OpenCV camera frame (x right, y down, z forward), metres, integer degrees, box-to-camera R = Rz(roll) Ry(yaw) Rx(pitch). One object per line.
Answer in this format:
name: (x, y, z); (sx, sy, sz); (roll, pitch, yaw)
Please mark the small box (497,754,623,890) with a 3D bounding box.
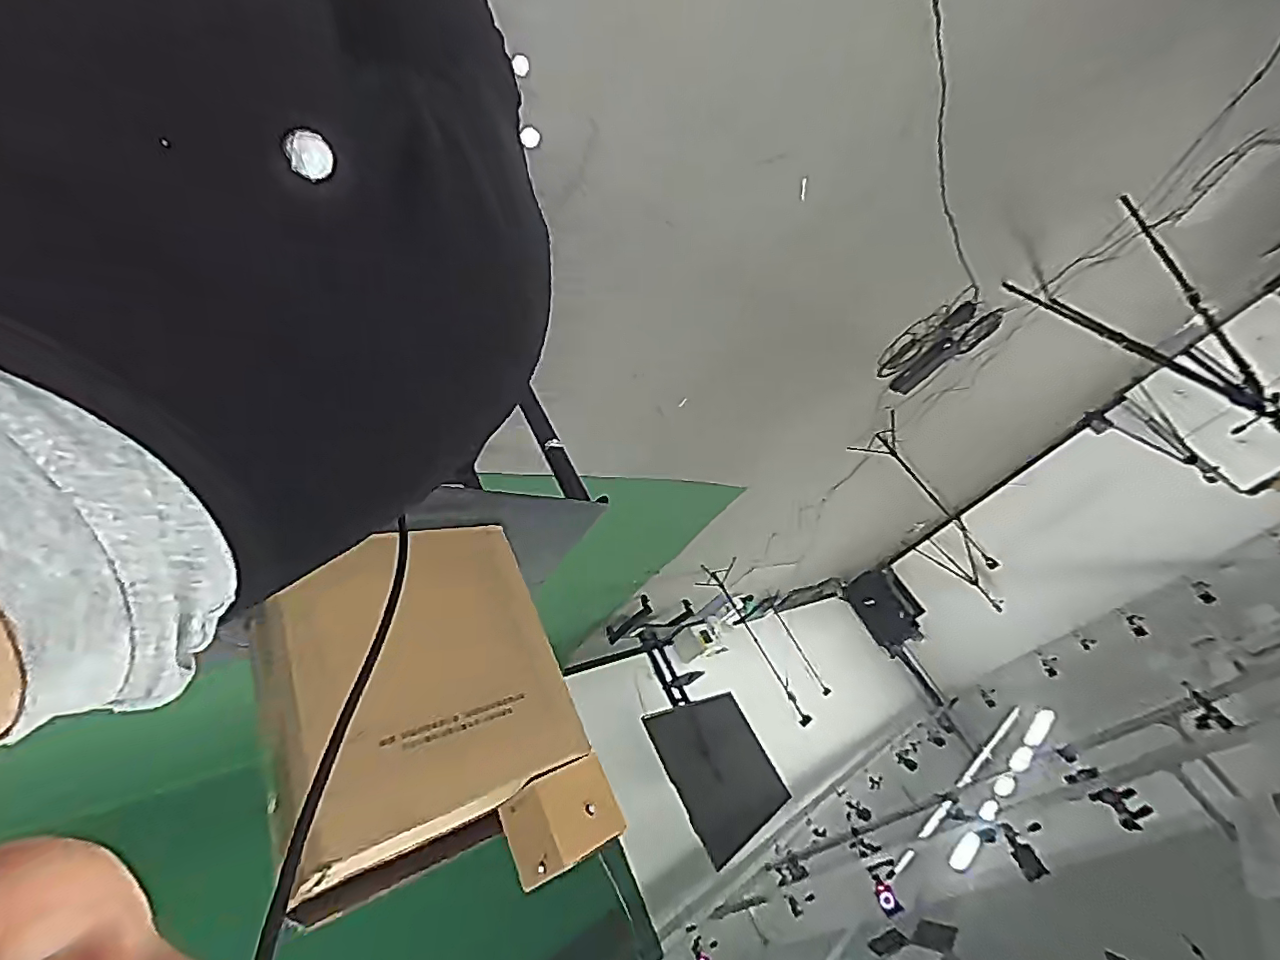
small box: (-0.175, 0.726, 1.166); (0.179, 0.176, 0.168); (1, 138, -49)
